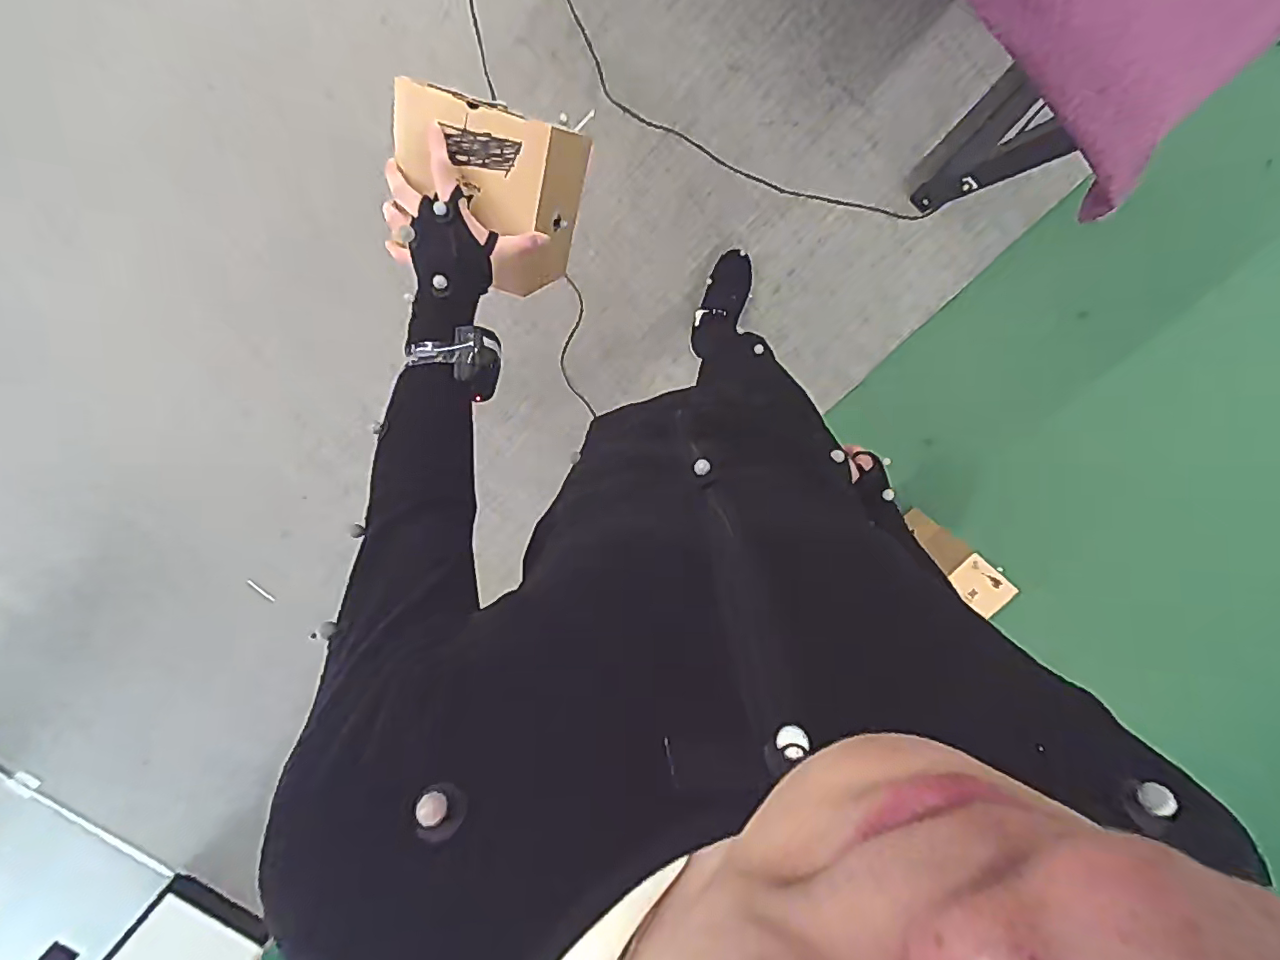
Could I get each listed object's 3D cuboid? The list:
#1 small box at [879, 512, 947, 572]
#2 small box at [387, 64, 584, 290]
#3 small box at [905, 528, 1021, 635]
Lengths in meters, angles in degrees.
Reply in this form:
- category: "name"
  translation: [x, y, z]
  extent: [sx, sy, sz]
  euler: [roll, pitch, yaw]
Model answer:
- category: "small box"
  translation: [0.832, 0.212, 1.567]
  extent: [0.179, 0.176, 0.168]
  euler: [41, 105, -10]
- category: "small box"
  translation: [-0.176, -0.354, 0.645]
  extent: [0.168, 0.176, 0.179]
  euler: [20, 122, 1]
- category: "small box"
  translation: [0.826, 0.260, 1.411]
  extent: [0.168, 0.176, 0.179]
  euler: [39, 106, -9]
